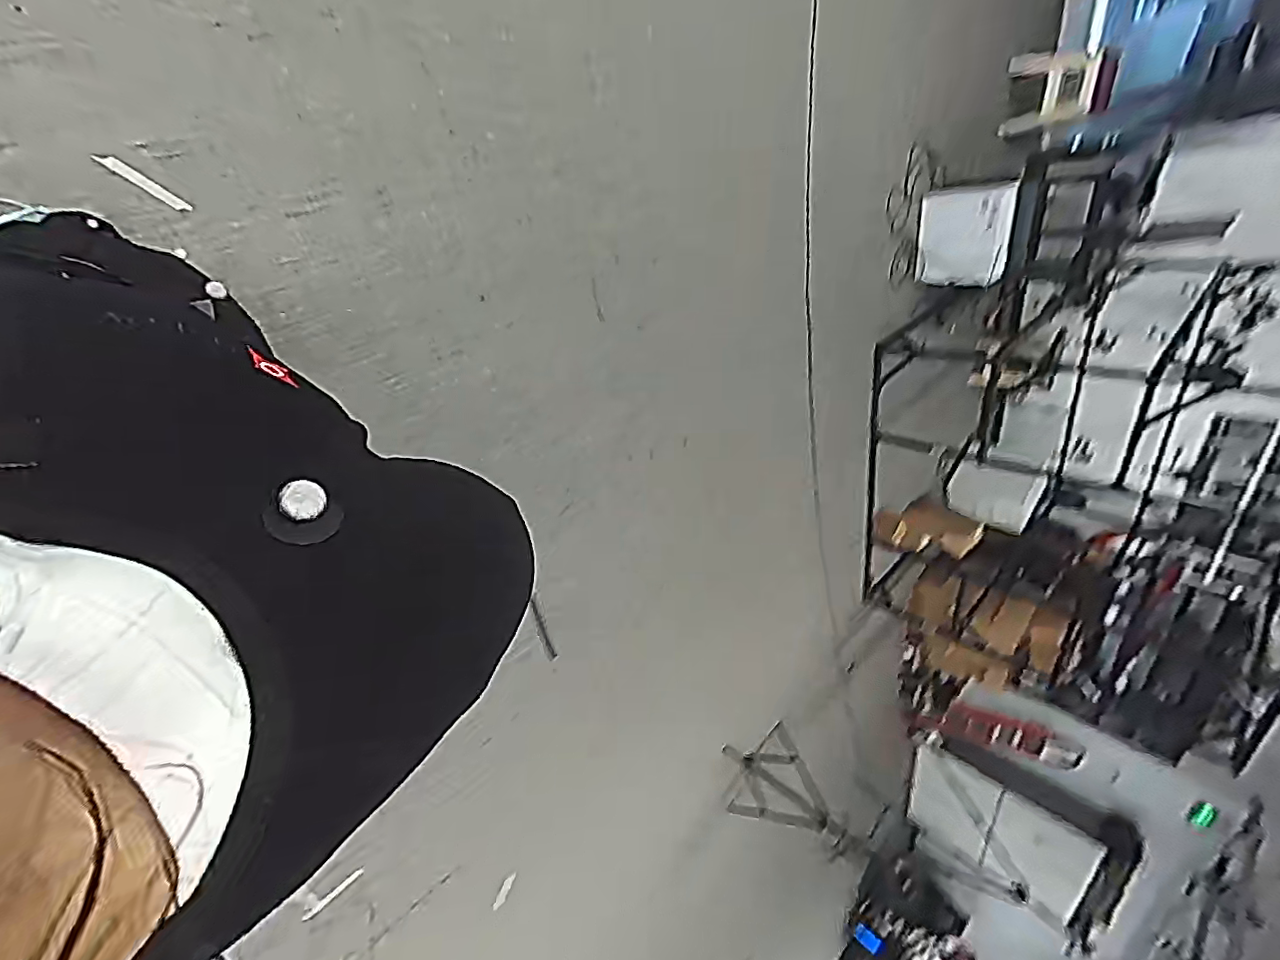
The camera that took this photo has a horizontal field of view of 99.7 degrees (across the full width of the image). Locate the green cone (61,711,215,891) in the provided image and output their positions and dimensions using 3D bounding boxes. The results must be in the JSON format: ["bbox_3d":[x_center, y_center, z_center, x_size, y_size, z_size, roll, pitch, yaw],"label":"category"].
[{"bbox_3d":[-1.023,0.694,1.123,0.200,0.368,0.202,-45,133,-22],"label":"green cone"}]
